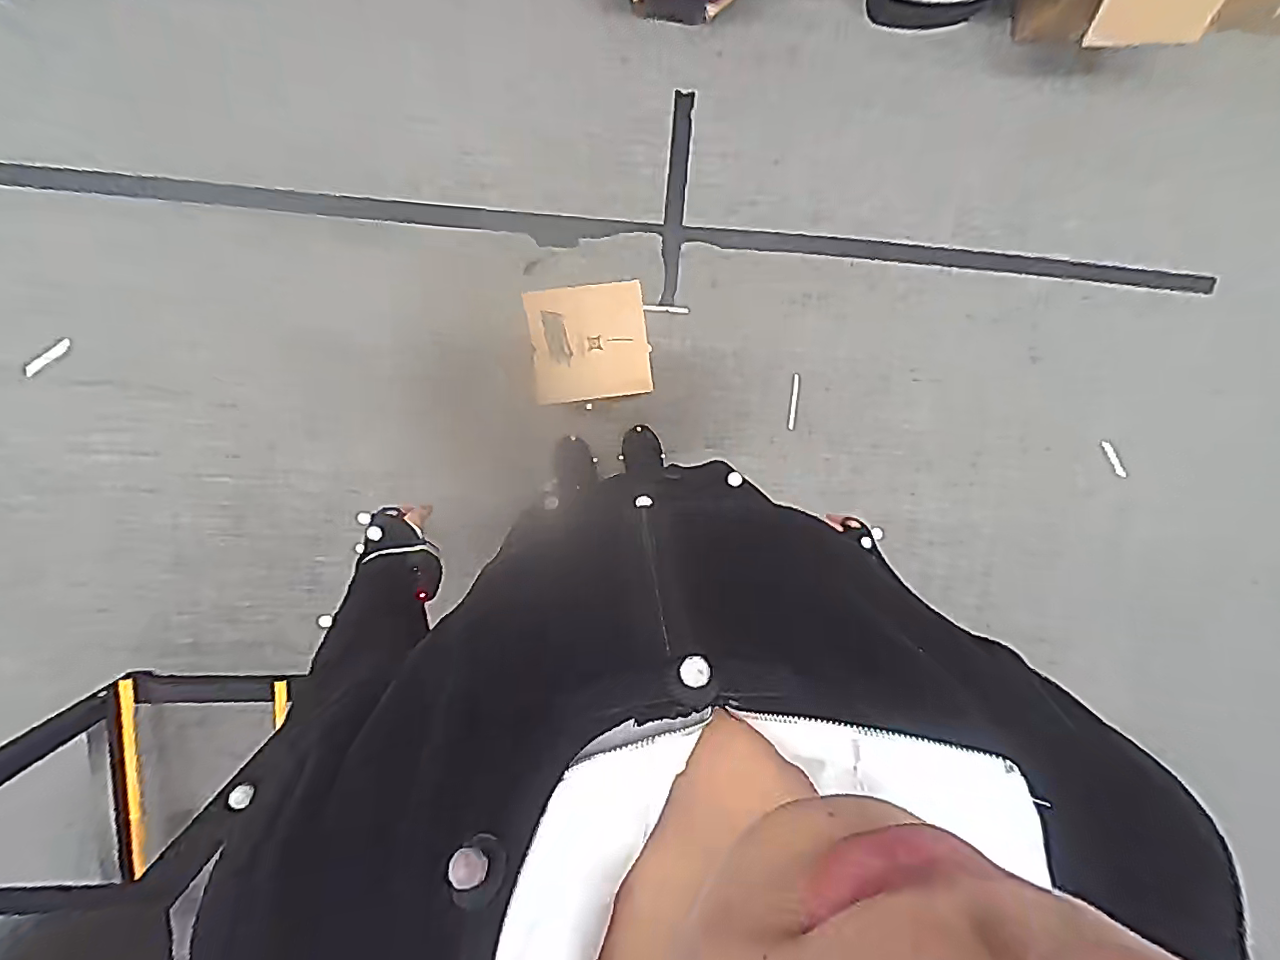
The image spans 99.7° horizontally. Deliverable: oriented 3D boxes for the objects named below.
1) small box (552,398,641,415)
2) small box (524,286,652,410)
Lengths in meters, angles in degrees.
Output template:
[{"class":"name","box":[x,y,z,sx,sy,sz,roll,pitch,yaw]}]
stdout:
[{"class":"small box","box":[-0.089,-0.223,1.040,0.168,0.176,0.179,-7,99,-3]},{"class":"small box","box":[-0.080,-0.205,0.876,0.179,0.176,0.168,-7,98,-4]}]
